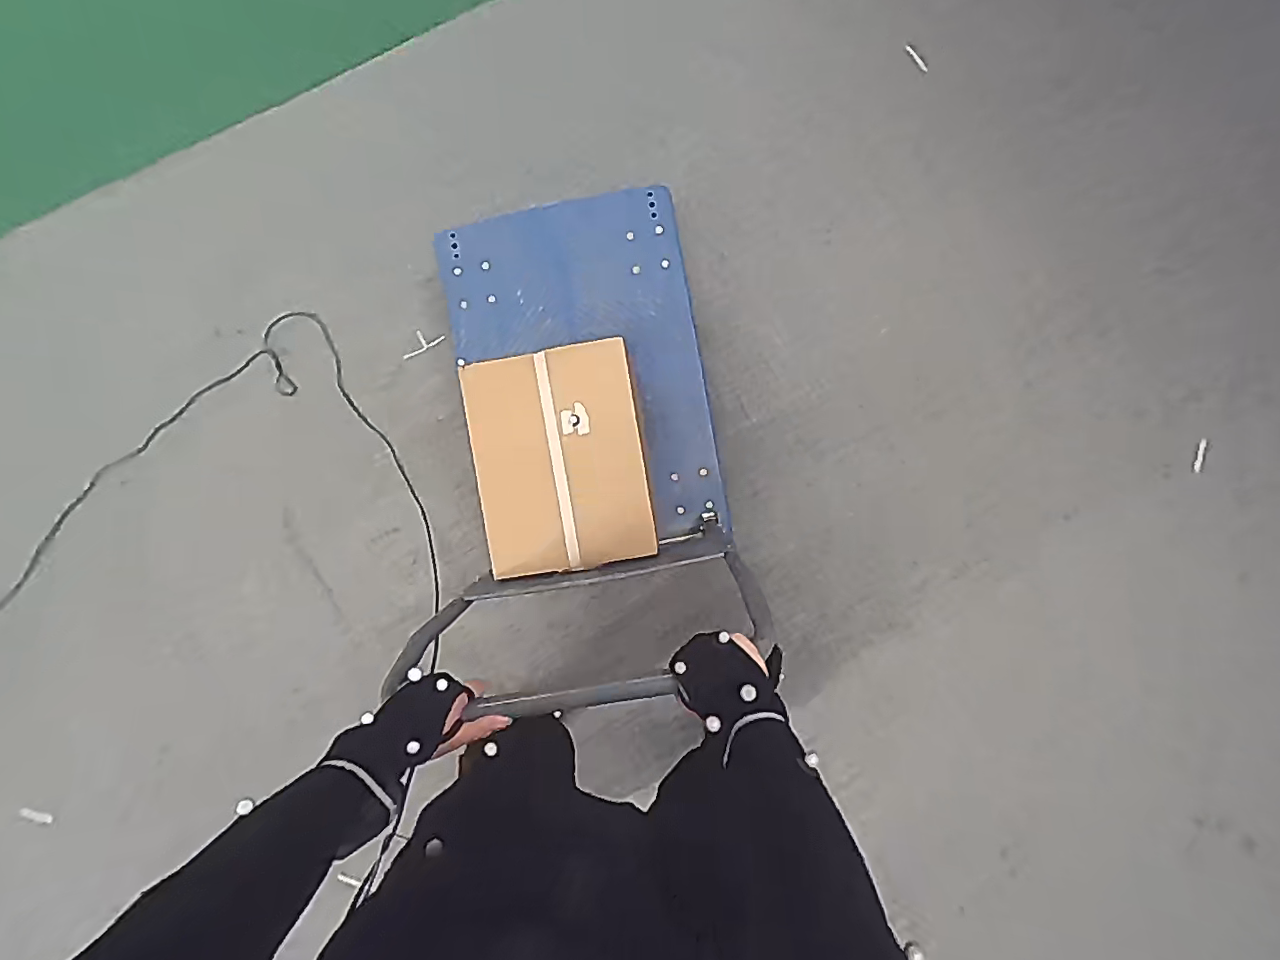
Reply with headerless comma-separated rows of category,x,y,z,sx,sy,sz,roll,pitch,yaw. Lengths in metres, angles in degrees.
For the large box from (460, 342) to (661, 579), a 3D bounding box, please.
large box,-0.143,-0.035,1.153,0.320,0.320,0.408,-10,90,2
